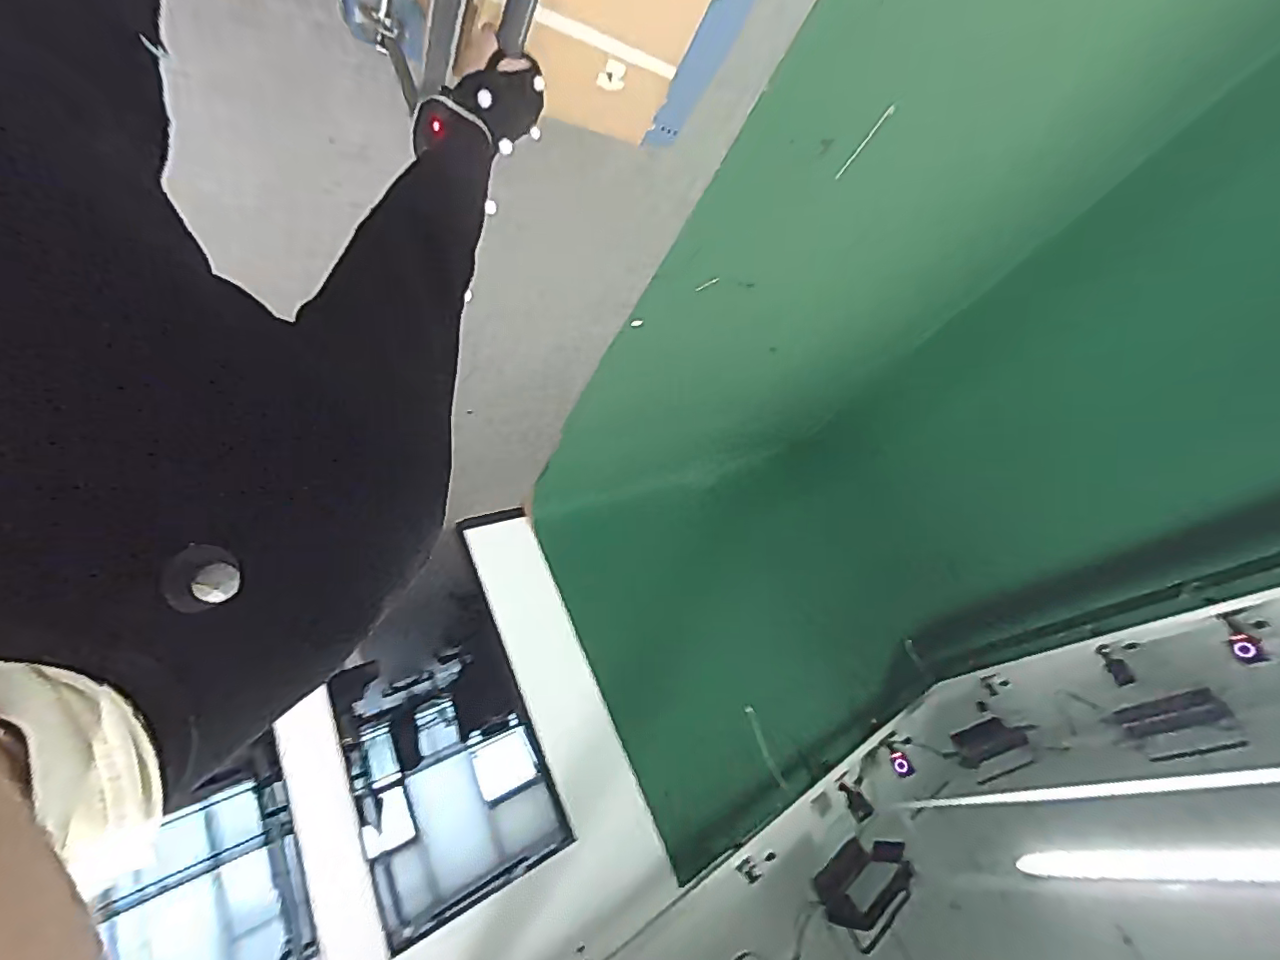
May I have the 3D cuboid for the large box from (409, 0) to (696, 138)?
[{"bbox_3d":[-0.166,-0.919,1.003,0.408,0.320,0.320,-11,155,-38],"label":"large box"}]
